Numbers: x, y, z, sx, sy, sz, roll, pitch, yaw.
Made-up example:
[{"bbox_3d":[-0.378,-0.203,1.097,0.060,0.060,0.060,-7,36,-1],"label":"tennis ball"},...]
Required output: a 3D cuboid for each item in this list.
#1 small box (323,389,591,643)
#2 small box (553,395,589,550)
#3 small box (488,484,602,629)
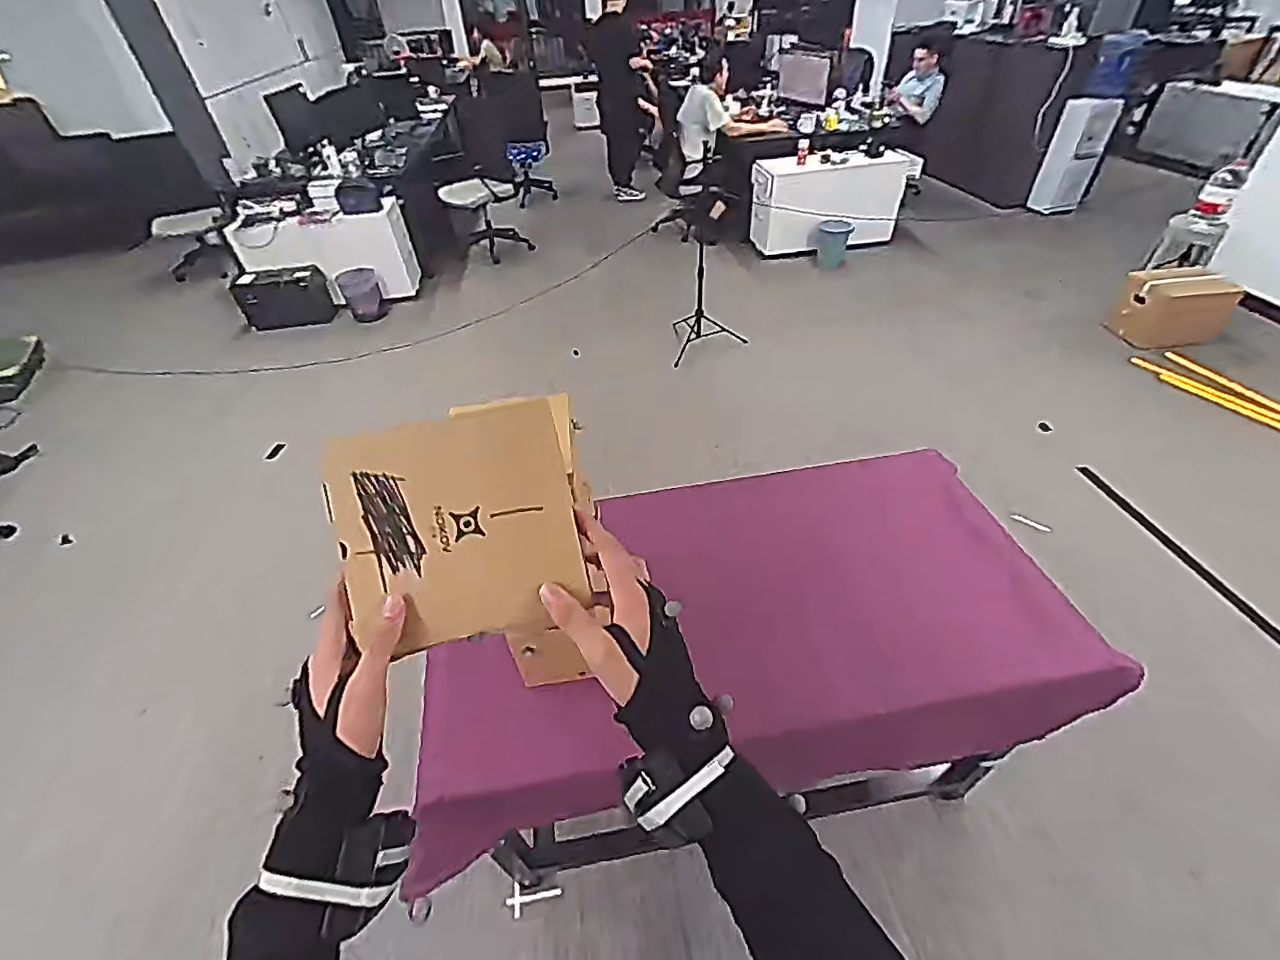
[{"bbox_3d":[-0.145,0.032,0.487,0.179,0.176,0.168,-12,87,-8],"label":"small box"},{"bbox_3d":[-0.166,0.007,0.753,0.168,0.176,0.179,-7,42,-4],"label":"small box"},{"bbox_3d":[-0.159,0.125,0.865,0.179,0.176,0.168,-3,43,1],"label":"small box"}]
